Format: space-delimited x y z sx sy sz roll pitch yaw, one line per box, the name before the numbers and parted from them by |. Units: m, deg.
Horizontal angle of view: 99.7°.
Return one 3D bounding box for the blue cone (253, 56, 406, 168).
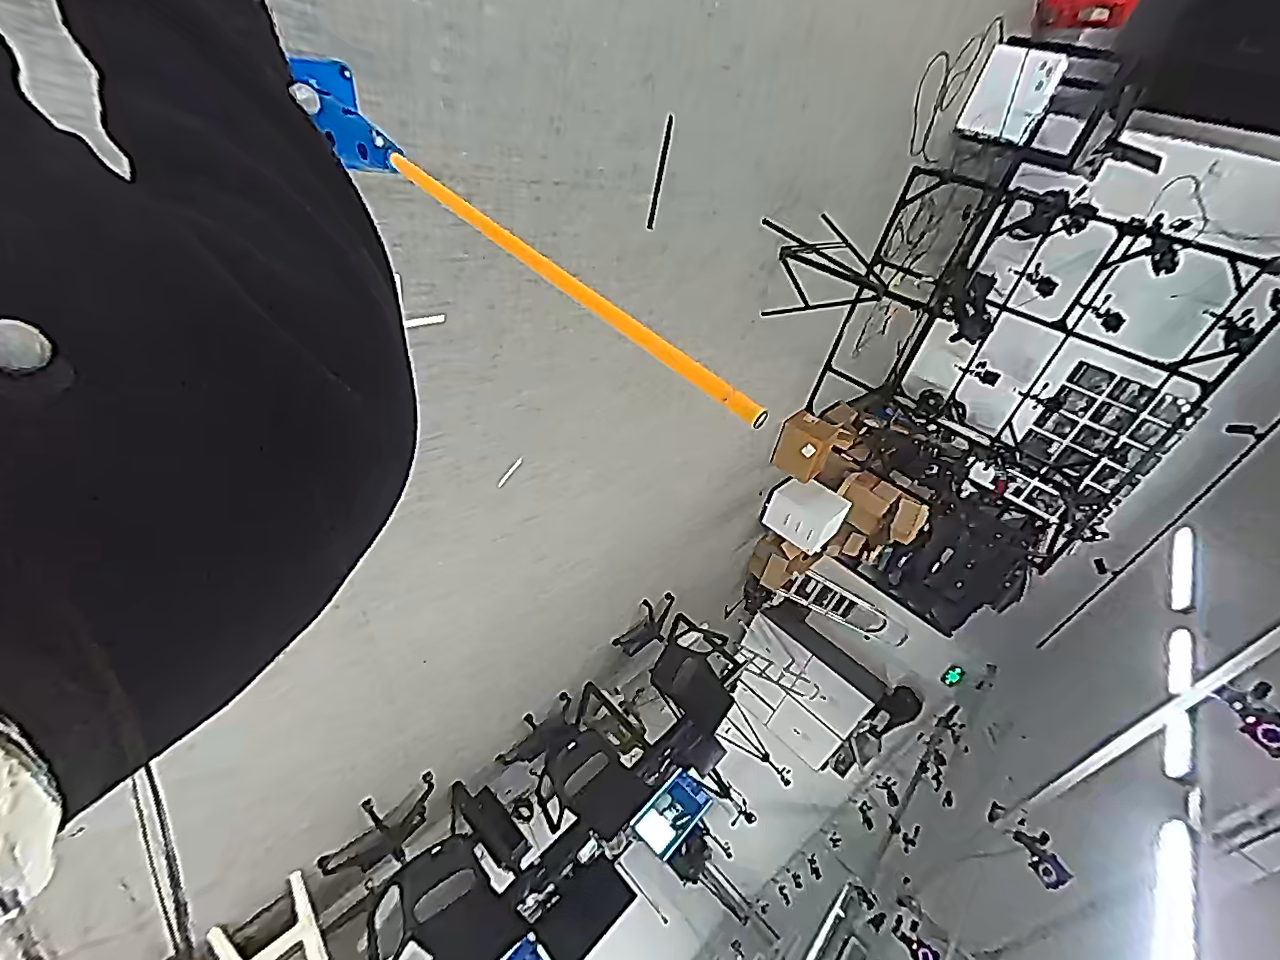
blue cone | -0.565 -0.679 1.055 0.193 0.380 0.192 -28 143 -40
